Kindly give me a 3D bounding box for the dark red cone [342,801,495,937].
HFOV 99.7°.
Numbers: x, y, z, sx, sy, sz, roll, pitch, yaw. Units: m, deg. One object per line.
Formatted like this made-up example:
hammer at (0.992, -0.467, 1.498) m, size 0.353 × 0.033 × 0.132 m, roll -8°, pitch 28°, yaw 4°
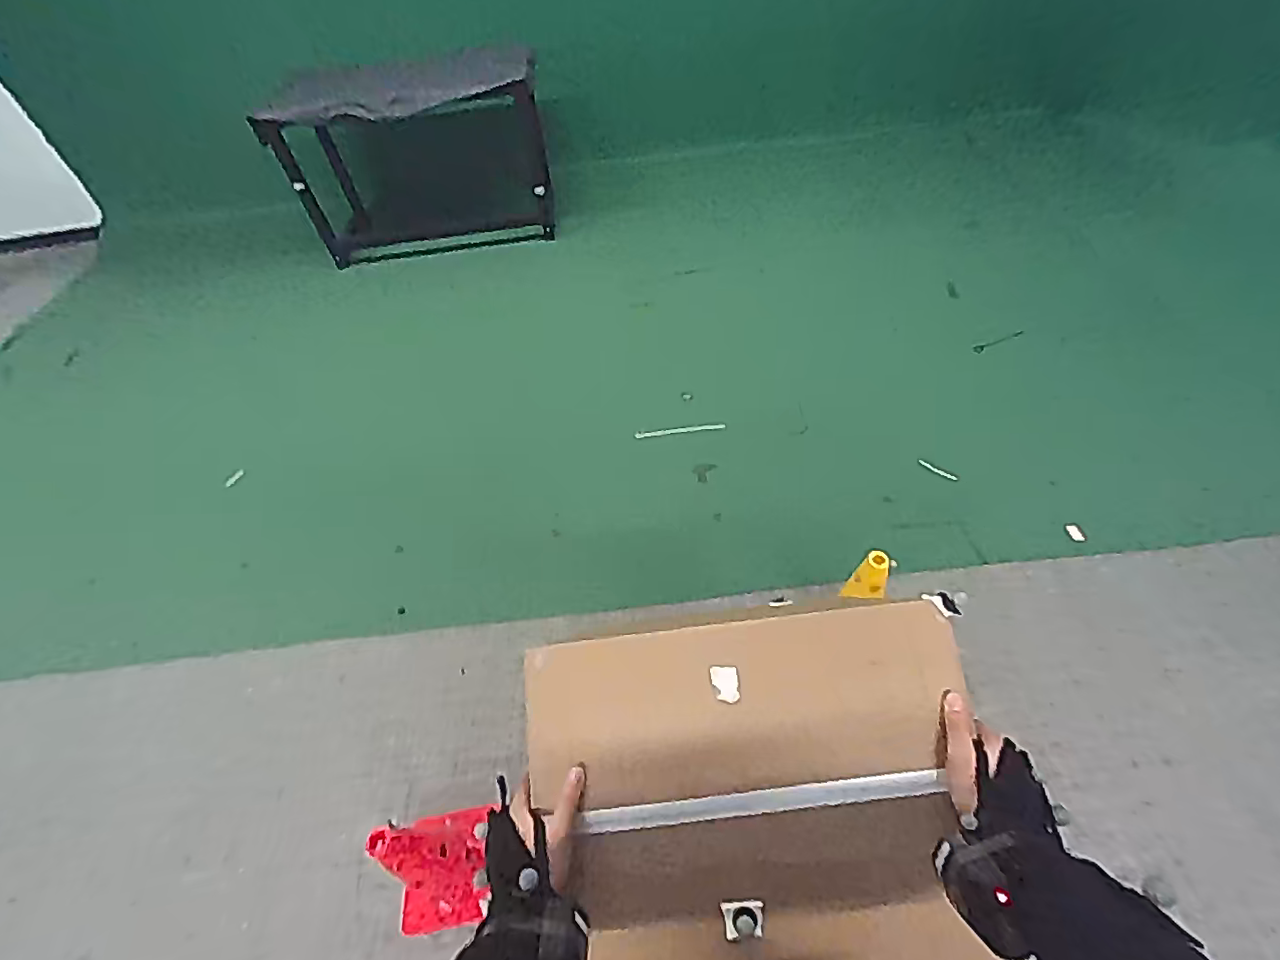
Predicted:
dark red cone at (-0.412, 0.664, 0.972) m, size 0.202 × 0.394 × 0.201 m, roll -13°, pitch 46°, yaw -2°
